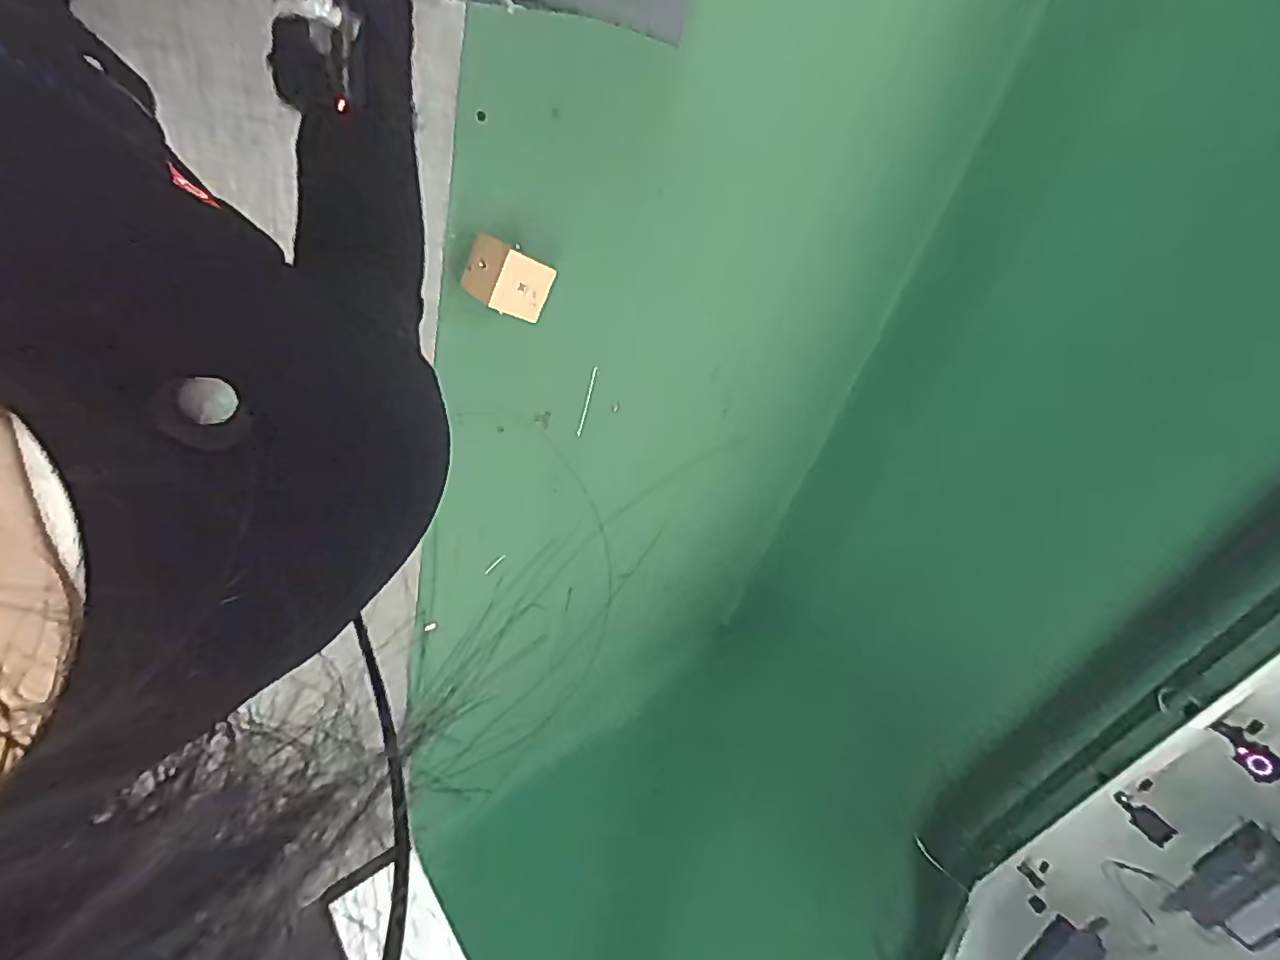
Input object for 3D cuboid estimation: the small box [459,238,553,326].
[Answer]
[{"bbox_3d":[-0.390,-0.573,1.560,0.179,0.176,0.168,5,120,-53],"label":"small box"}]
